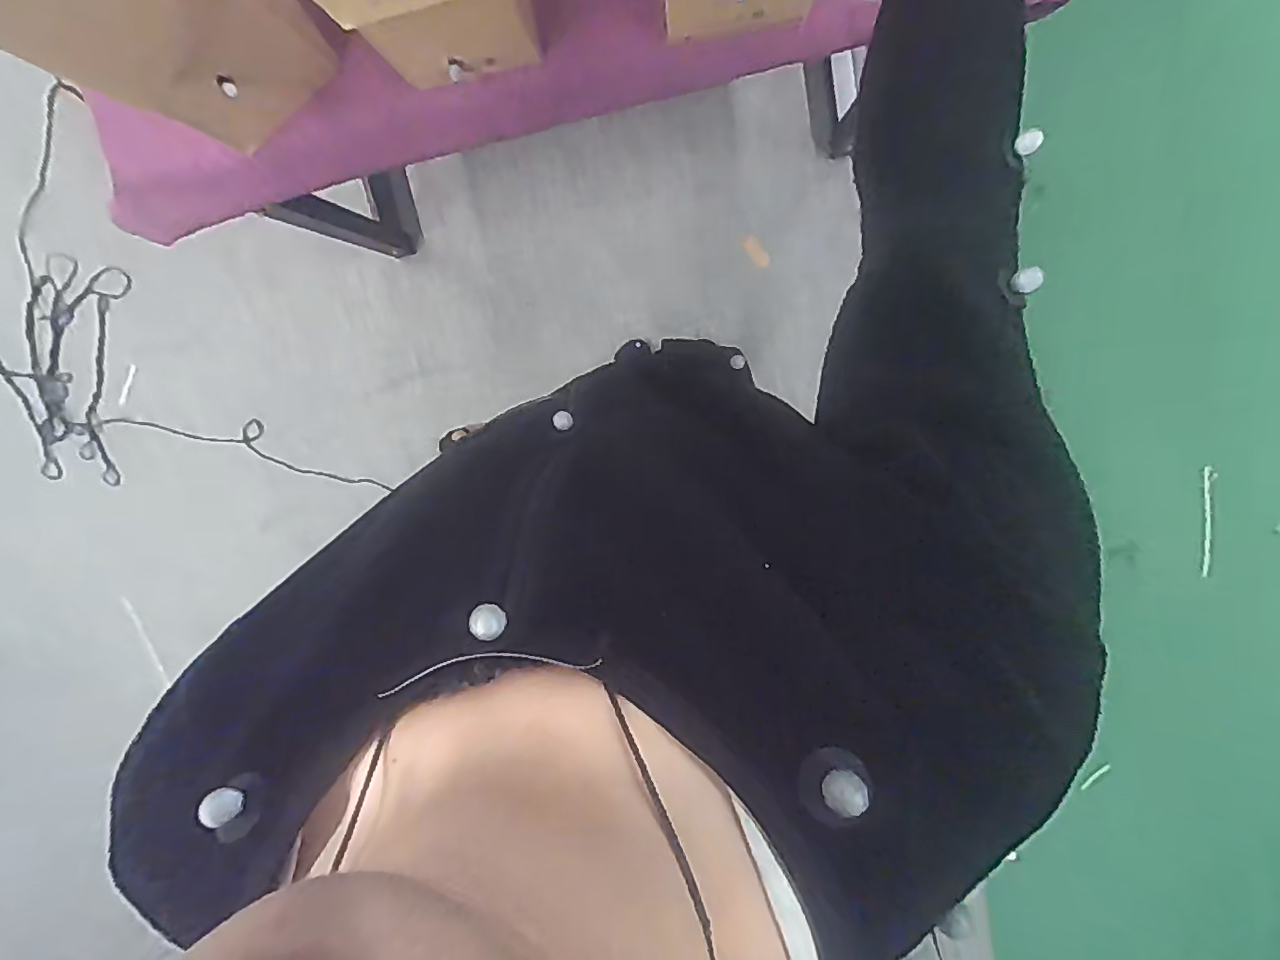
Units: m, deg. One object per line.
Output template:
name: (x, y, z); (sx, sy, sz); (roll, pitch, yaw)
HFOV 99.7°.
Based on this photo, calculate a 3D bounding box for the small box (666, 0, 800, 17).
small box: (0.099, -0.606, 0.537); (0.168, 0.176, 0.179); (-5, 103, 5)

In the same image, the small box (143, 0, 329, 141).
small box: (-0.497, -0.524, 0.598); (0.179, 0.176, 0.168); (-35, 99, 11)

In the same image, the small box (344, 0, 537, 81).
small box: (-0.221, -0.572, 0.569); (0.168, 0.176, 0.179); (-9, 102, 7)

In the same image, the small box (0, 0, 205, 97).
small box: (-0.507, -0.471, 0.441); (0.168, 0.176, 0.179); (42, 101, -6)
